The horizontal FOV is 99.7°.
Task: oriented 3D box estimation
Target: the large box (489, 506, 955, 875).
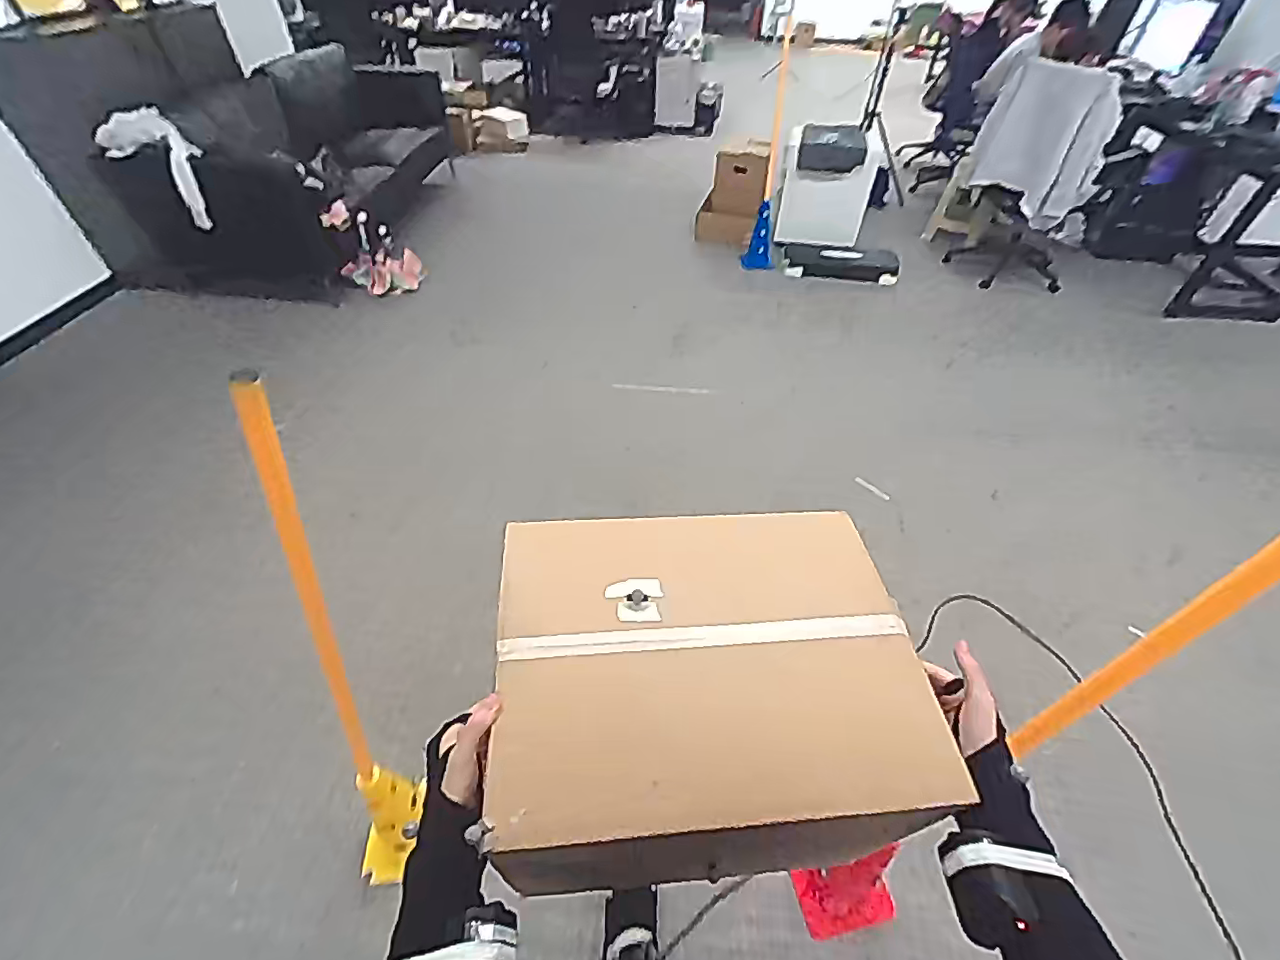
[{"bbox_3d":[0.057,0.254,0.652,0.408,0.320,0.320,-2,48,-6],"label":"large box"}]
